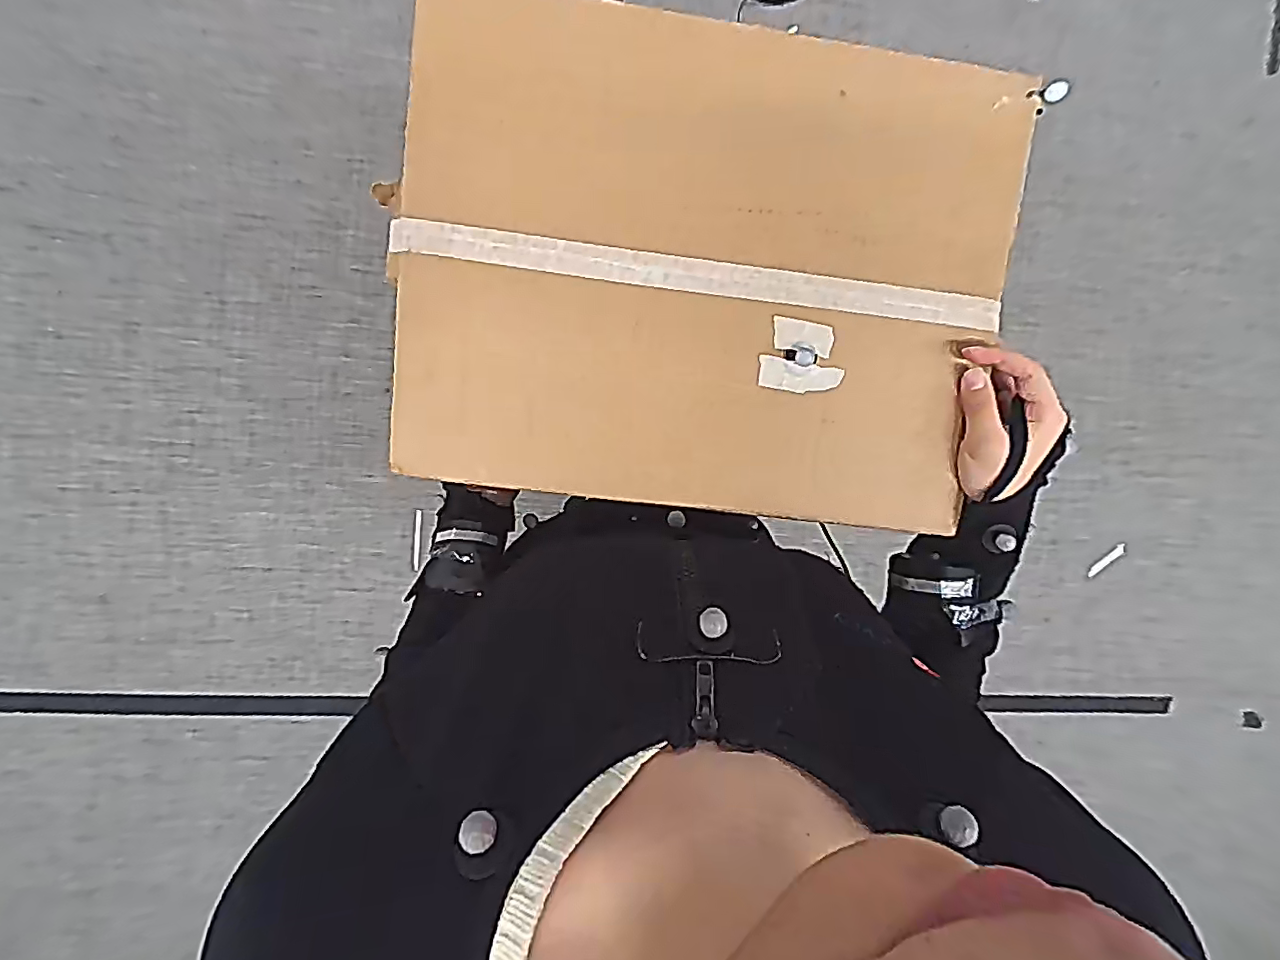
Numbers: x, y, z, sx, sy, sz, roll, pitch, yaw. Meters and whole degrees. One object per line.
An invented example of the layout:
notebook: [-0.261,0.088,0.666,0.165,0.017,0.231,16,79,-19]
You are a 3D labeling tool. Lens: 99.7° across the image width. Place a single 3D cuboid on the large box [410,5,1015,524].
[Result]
large box: [0.037,-0.150,0.520,0.408,0.320,0.320,6,97,-5]
